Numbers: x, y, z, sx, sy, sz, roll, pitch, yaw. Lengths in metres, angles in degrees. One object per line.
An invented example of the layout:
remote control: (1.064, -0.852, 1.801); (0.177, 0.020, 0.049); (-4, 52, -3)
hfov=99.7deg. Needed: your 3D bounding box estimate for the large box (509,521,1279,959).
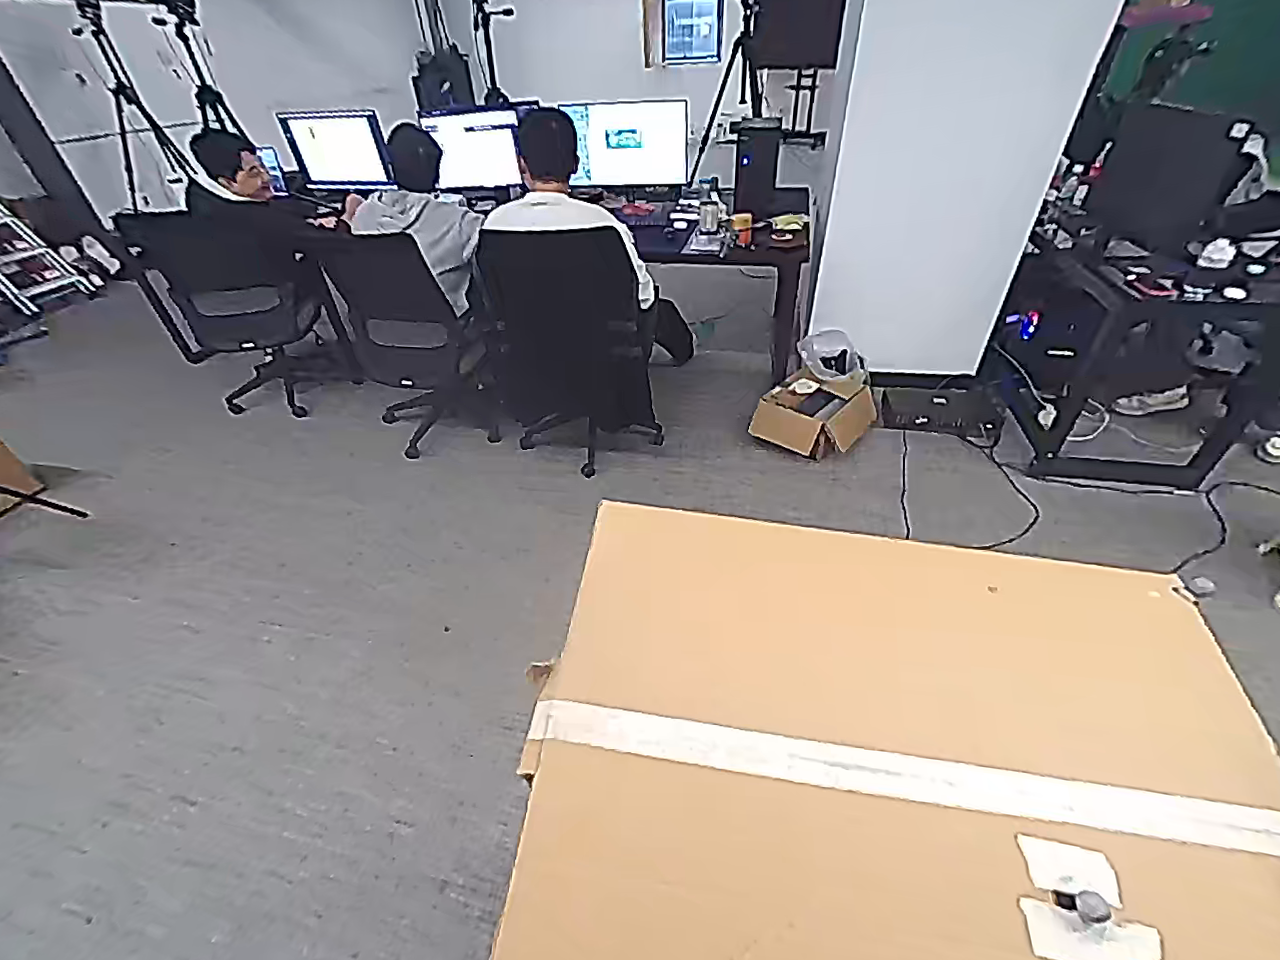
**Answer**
large box: (0.141, 0.262, 0.417); (0.408, 0.320, 0.320); (7, 52, 4)
